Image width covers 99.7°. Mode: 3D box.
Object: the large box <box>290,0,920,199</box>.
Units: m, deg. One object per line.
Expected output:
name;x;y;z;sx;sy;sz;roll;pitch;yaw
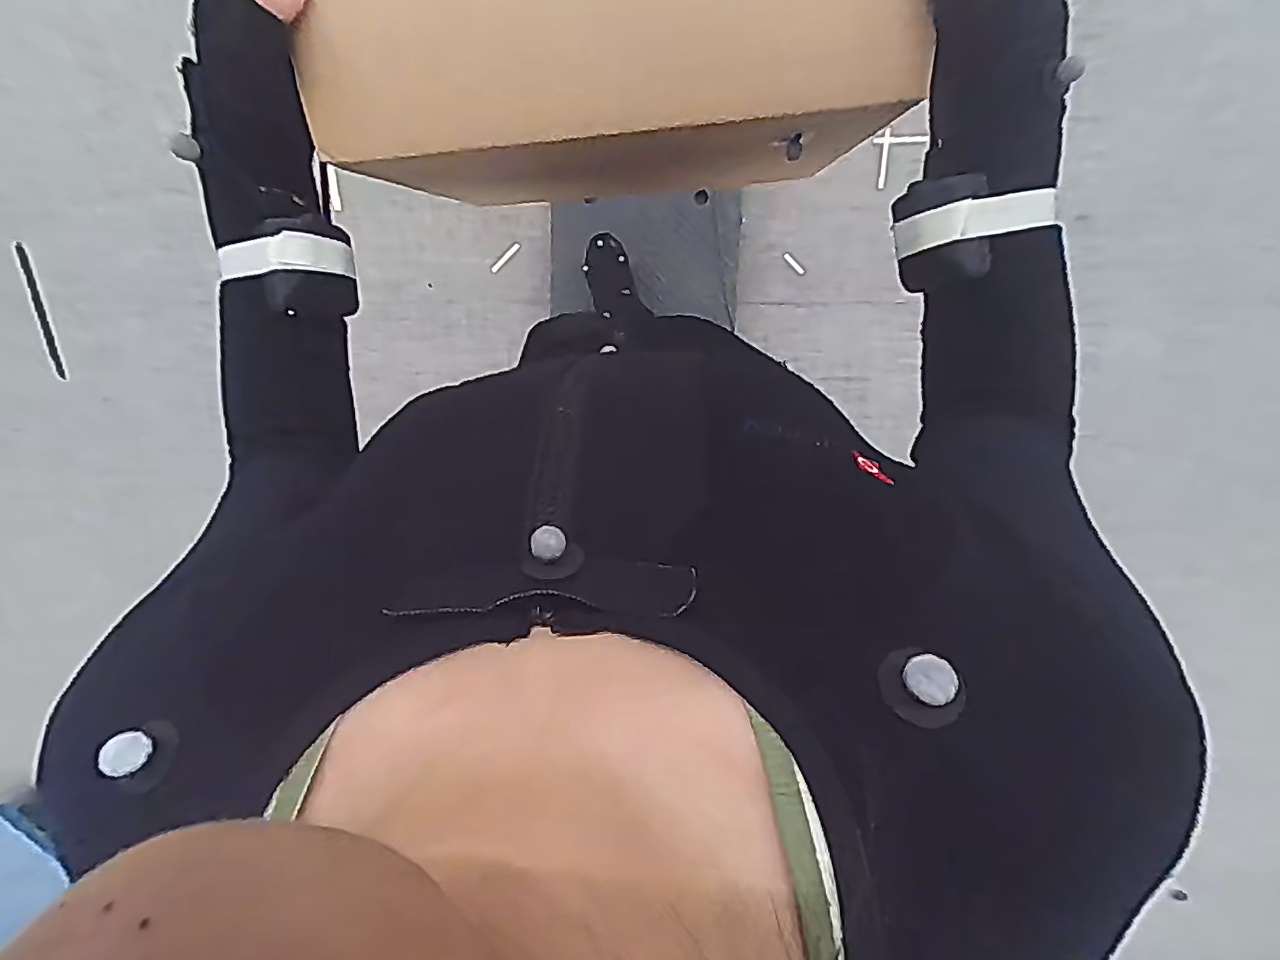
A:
large box;-0.024;-0.433;0.448;0.408;0.320;0.320;-3;111;4
